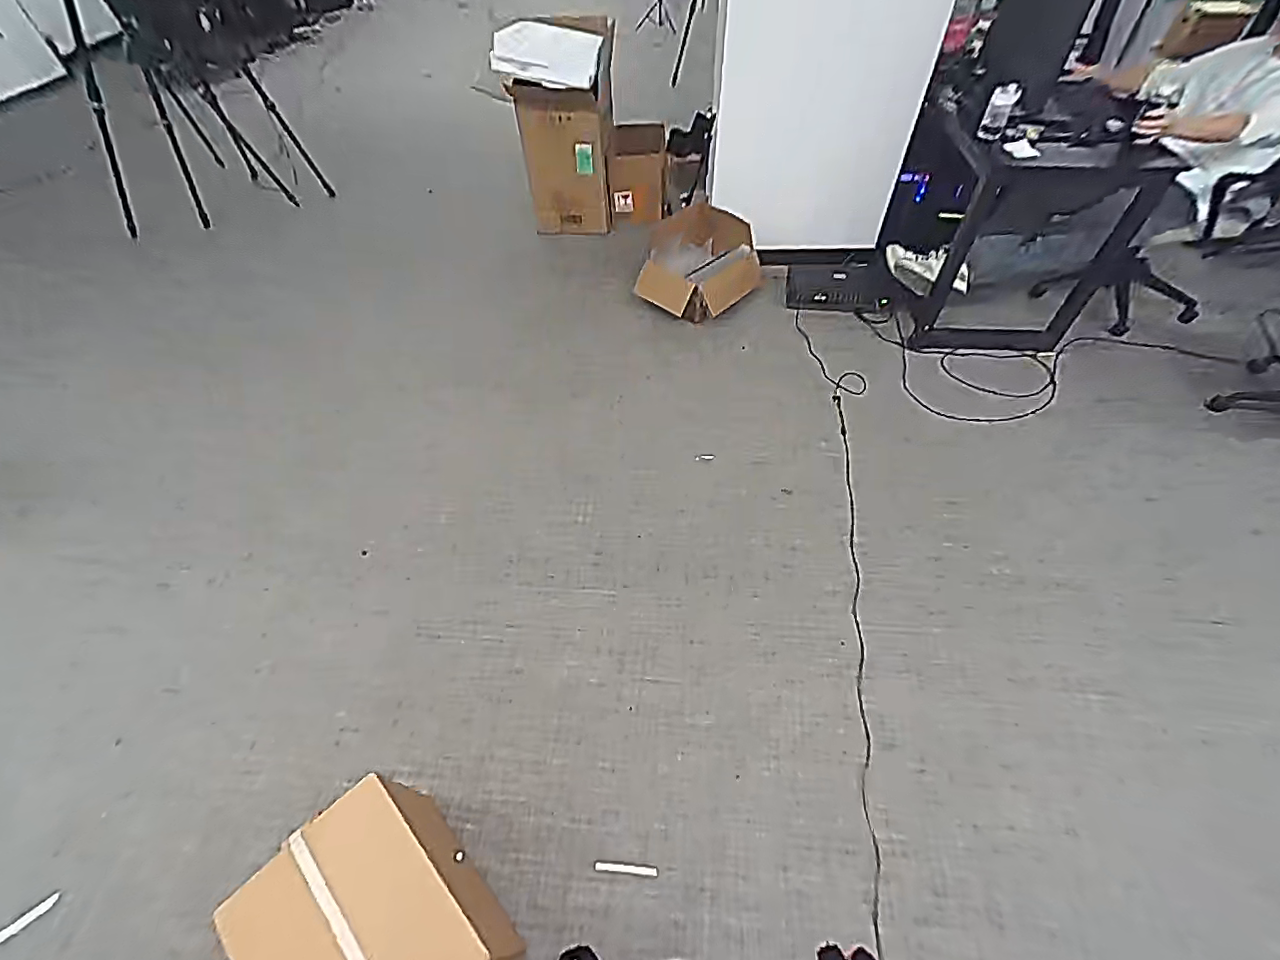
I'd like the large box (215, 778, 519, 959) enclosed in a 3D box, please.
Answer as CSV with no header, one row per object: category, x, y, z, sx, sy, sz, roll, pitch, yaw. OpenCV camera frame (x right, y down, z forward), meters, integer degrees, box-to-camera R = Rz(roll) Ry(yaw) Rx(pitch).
large box,-0.498,0.873,1.042,0.408,0.320,0.320,37,61,26
